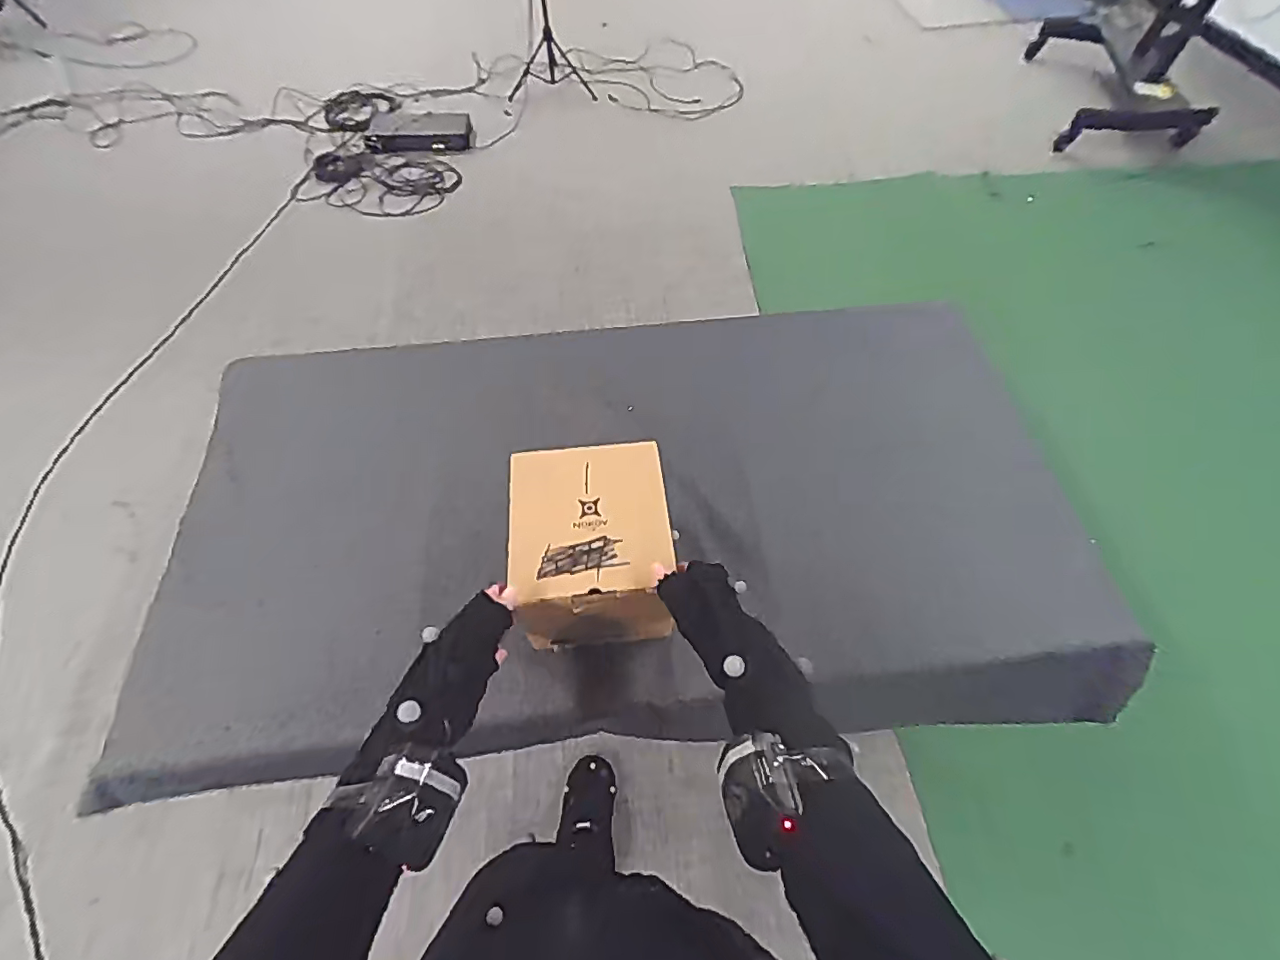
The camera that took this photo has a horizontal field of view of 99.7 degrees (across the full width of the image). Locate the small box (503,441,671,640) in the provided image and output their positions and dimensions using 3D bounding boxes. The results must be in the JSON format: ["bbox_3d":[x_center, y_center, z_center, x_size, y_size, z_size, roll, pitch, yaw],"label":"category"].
[{"bbox_3d":[-0.059,0.080,0.636,0.168,0.176,0.179,-8,60,-5],"label":"small box"}]
